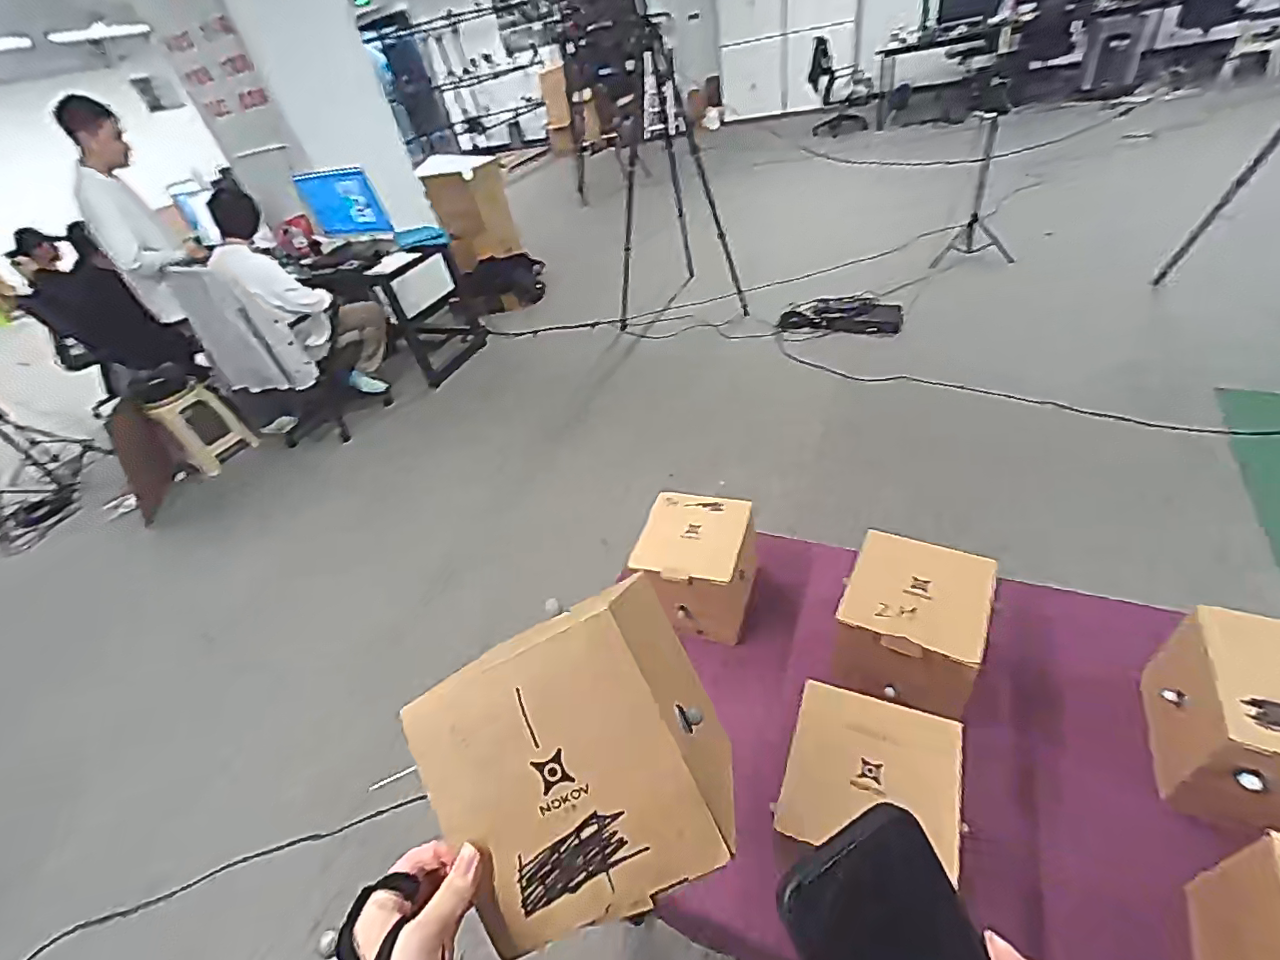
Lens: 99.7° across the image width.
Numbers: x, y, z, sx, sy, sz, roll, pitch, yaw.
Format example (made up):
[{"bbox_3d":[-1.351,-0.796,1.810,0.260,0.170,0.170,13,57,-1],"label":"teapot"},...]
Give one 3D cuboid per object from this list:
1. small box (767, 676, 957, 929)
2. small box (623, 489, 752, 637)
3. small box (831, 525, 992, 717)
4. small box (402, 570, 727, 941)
[{"bbox_3d":[0.251,0.364,0.617,0.168,0.176,0.179,9,45,25],"label":"small box"},{"bbox_3d":[0.092,0.141,0.918,0.168,0.176,0.179,6,45,22],"label":"small box"},{"bbox_3d":[0.376,0.198,0.768,0.168,0.176,0.179,14,48,30],"label":"small box"},{"bbox_3d":[-0.041,0.190,0.428,0.168,0.179,0.176,-28,-5,7],"label":"small box"}]
